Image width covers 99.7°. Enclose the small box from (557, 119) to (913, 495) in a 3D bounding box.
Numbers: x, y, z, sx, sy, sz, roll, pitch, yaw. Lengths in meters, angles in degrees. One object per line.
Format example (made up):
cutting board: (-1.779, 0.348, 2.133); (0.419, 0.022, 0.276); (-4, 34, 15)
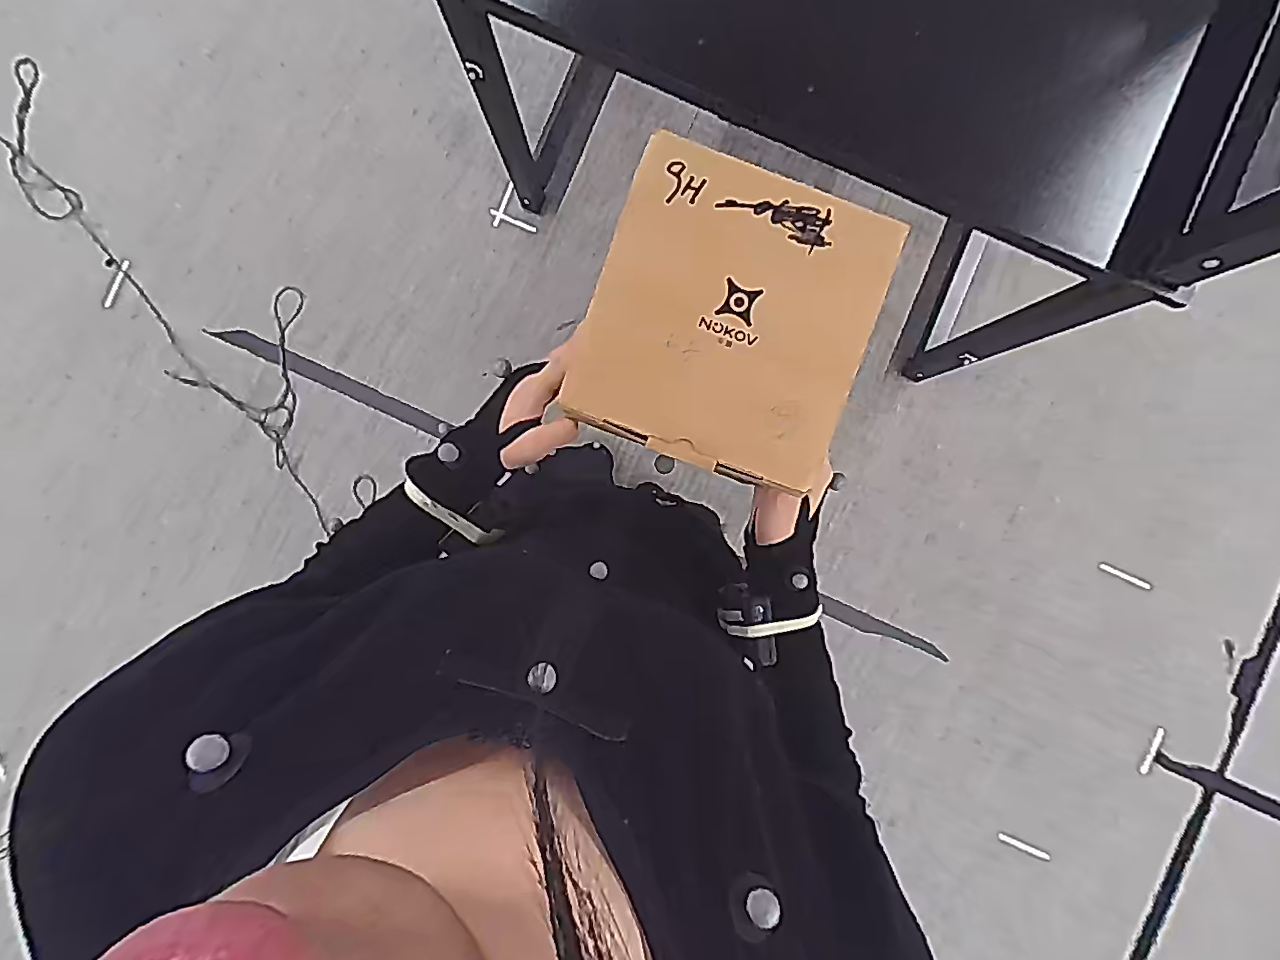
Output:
small box: (0.054, -0.104, 0.396); (0.168, 0.176, 0.179); (20, 93, -3)
